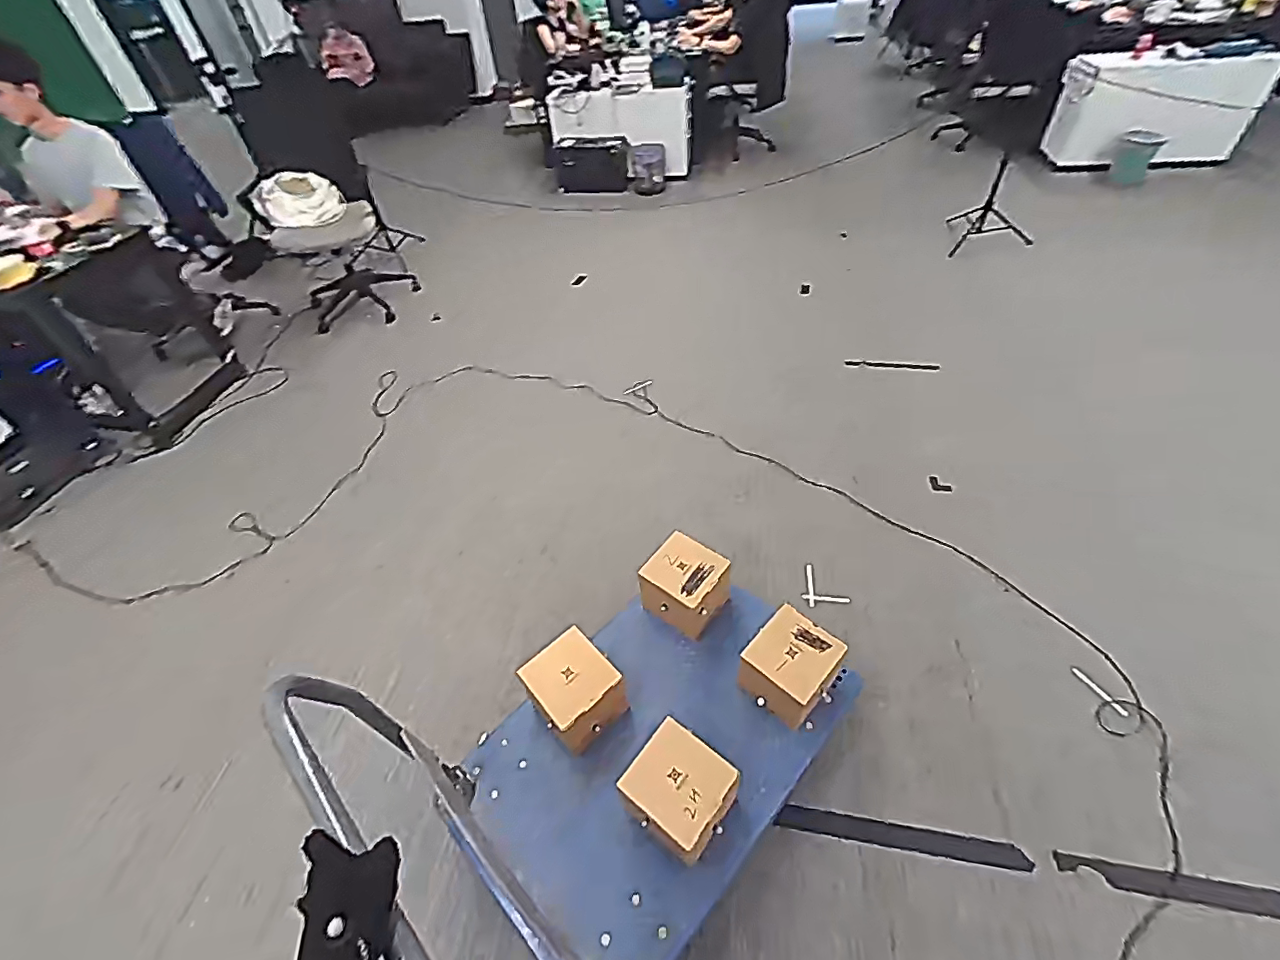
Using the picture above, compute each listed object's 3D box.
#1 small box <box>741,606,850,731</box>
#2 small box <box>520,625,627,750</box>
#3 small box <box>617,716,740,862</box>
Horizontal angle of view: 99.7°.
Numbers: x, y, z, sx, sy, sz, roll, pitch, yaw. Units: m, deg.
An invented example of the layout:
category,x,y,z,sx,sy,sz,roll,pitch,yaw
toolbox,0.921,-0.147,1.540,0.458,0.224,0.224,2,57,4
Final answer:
category,x,y,z,sx,sy,sz,roll,pitch,yaw
small box,0.344,0.429,1.232,0.179,0.176,0.168,-38,54,-26
small box,-0.147,0.477,1.237,0.168,0.176,0.179,-35,55,-25
small box,0.077,0.619,1.078,0.179,0.176,0.168,30,56,29
